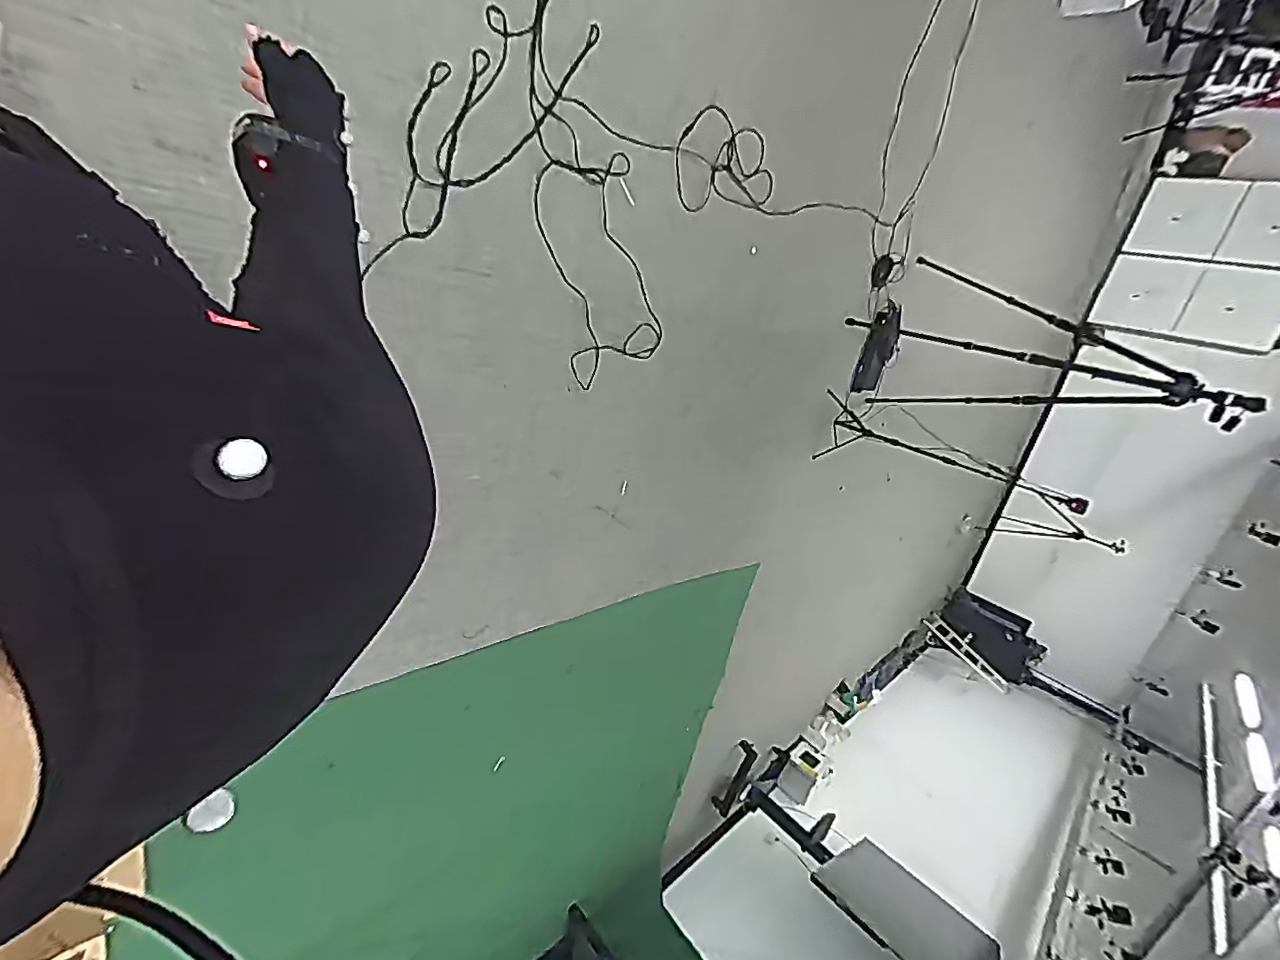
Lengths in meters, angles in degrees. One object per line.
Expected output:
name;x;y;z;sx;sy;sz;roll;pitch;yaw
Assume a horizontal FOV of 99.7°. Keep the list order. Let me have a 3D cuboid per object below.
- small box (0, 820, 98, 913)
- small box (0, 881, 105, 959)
small box;-1.378;0.947;1.254;0.168;0.176;0.179;-7;117;-47
small box;-1.265;1.011;1.154;0.168;0.176;0.179;-4;116;-47
